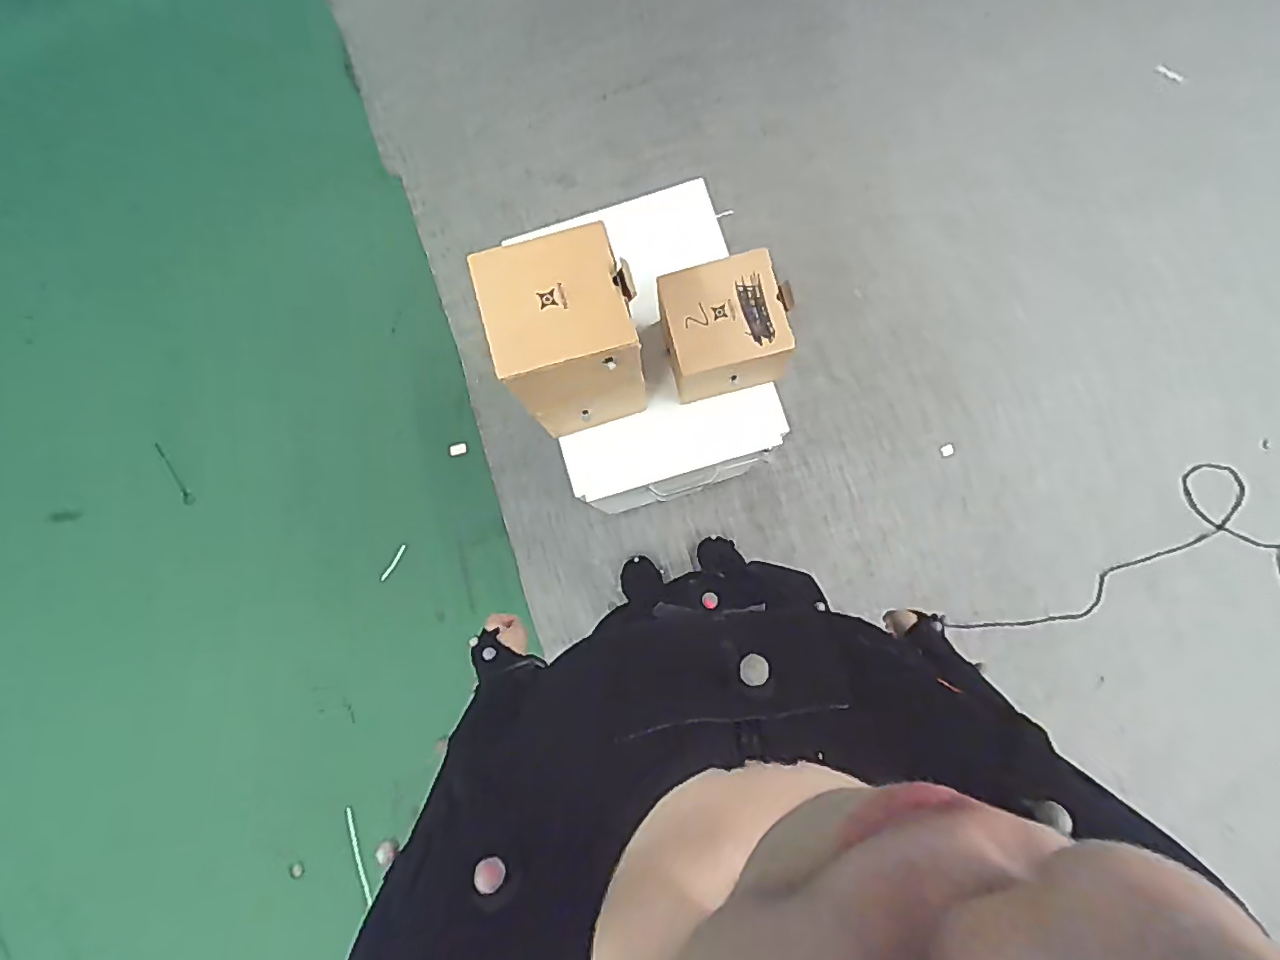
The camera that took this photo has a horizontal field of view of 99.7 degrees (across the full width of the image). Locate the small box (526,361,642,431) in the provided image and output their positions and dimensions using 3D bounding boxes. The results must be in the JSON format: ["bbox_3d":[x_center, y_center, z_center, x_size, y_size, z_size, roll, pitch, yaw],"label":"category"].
[{"bbox_3d":[-0.102,-0.191,0.889,0.179,0.176,0.168,-18,83,0],"label":"small box"}]

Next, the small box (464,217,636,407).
[{"bbox_3d":[-0.109,-0.211,0.727,0.179,0.176,0.168,-16,83,-1],"label":"small box"}]
